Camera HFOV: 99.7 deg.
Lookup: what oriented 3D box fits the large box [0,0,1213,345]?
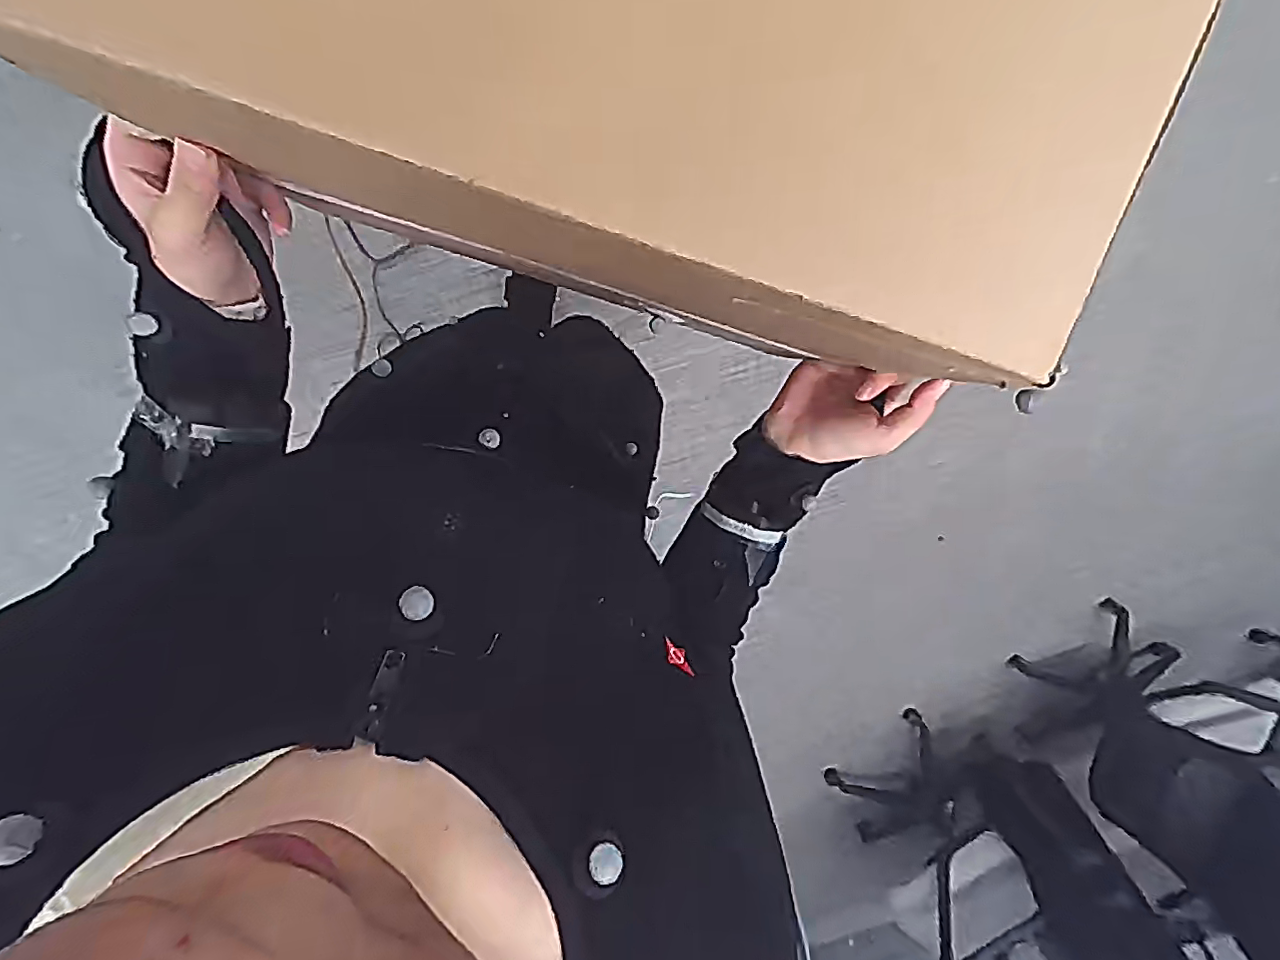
[{"bbox_3d":[0.000,-0.281,0.284,0.408,0.320,0.320,12,105,-13],"label":"large box"}]
